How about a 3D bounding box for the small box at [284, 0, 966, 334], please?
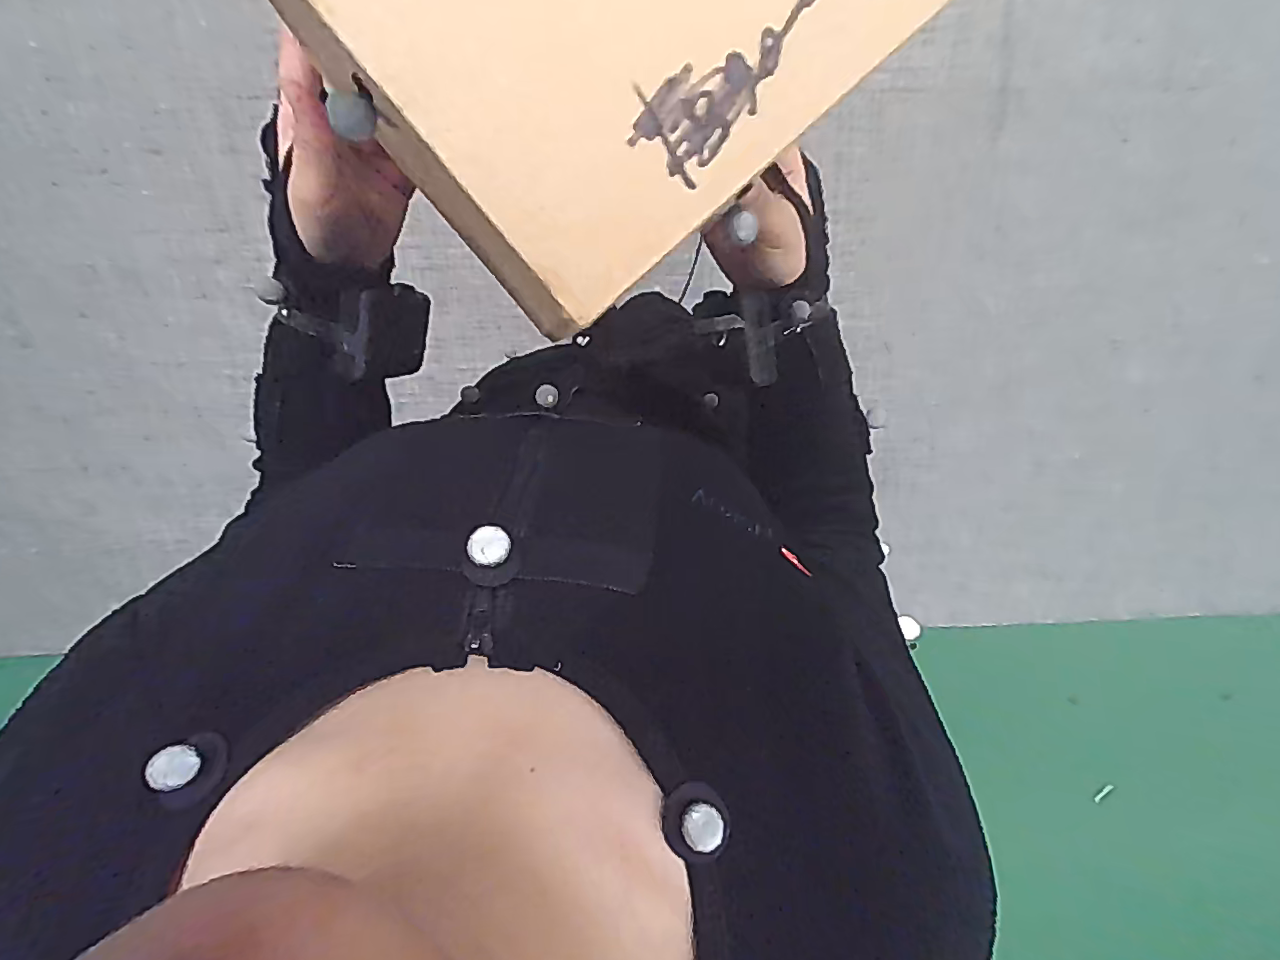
[{"bbox_3d":[-0.023,-0.177,0.218,0.168,0.176,0.179,-42,106,0],"label":"small box"}]
